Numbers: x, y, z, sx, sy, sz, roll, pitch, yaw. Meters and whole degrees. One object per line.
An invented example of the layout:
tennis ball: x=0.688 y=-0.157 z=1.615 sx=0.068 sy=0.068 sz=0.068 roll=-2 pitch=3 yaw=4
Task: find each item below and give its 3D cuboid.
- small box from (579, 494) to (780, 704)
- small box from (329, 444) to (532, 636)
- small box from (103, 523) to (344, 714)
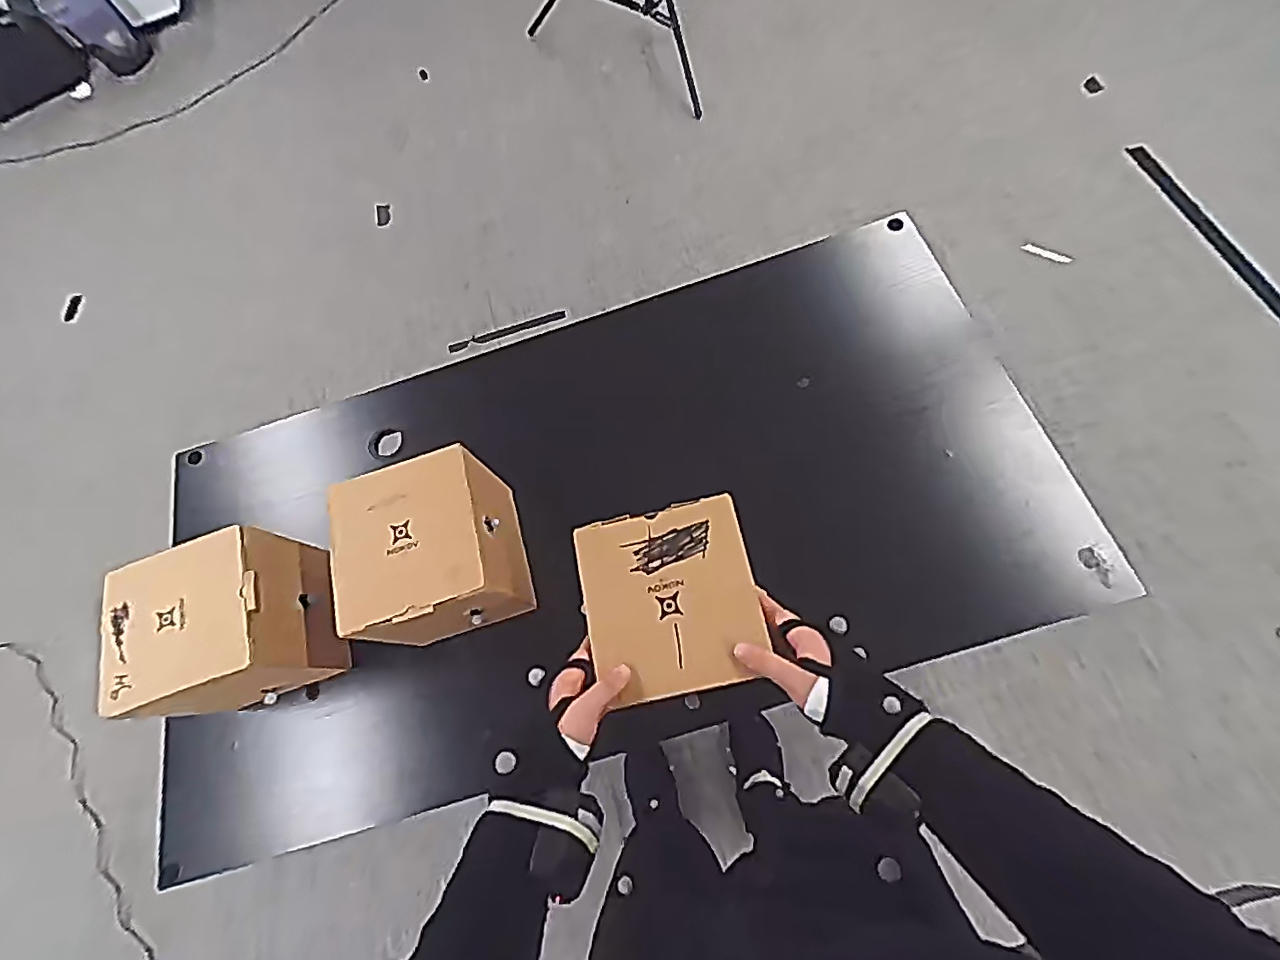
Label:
small box: x=0.042 y=0.136 z=0.589 sx=0.168 sy=0.176 sz=0.179 roll=-13 pitch=69 yaw=4
small box: x=-0.246 y=0.085 z=0.663 sx=0.168 sy=0.176 sz=0.179 roll=-18 pitch=68 yaw=1
small box: x=-0.493 y=0.173 z=0.666 sx=0.179 sy=0.176 sz=0.168 roll=-19 pitch=68 yaw=0
